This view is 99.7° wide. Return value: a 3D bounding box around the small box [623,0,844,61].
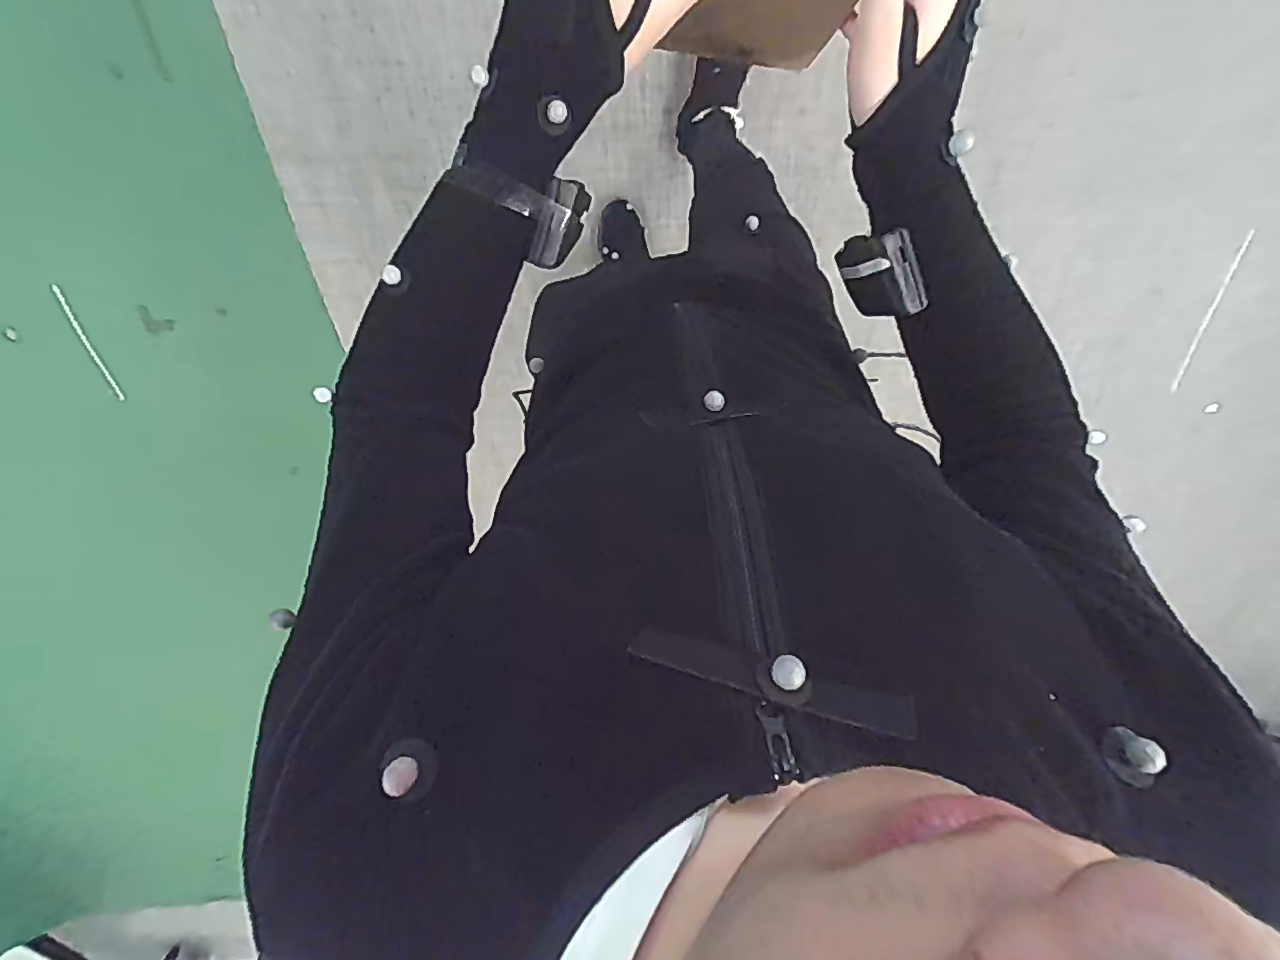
[{"bbox_3d":[0.077,-0.432,0.362,0.168,0.176,0.179,6,105,-5],"label":"small box"}]
